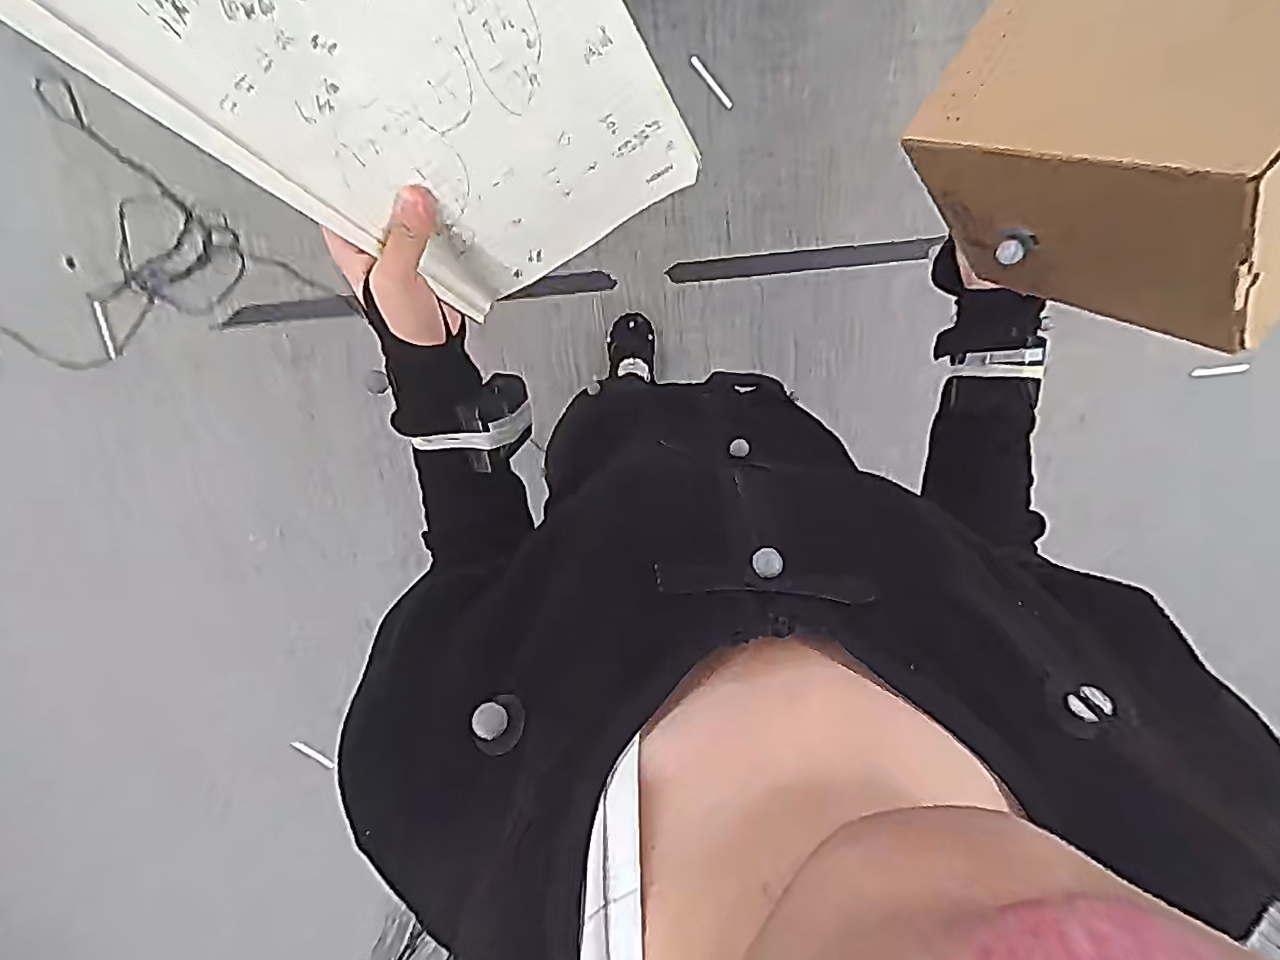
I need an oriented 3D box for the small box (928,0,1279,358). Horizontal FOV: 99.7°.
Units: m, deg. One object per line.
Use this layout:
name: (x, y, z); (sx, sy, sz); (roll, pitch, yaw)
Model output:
small box: (0.299, -0.202, 0.289); (0.168, 0.176, 0.179); (22, 109, -42)
